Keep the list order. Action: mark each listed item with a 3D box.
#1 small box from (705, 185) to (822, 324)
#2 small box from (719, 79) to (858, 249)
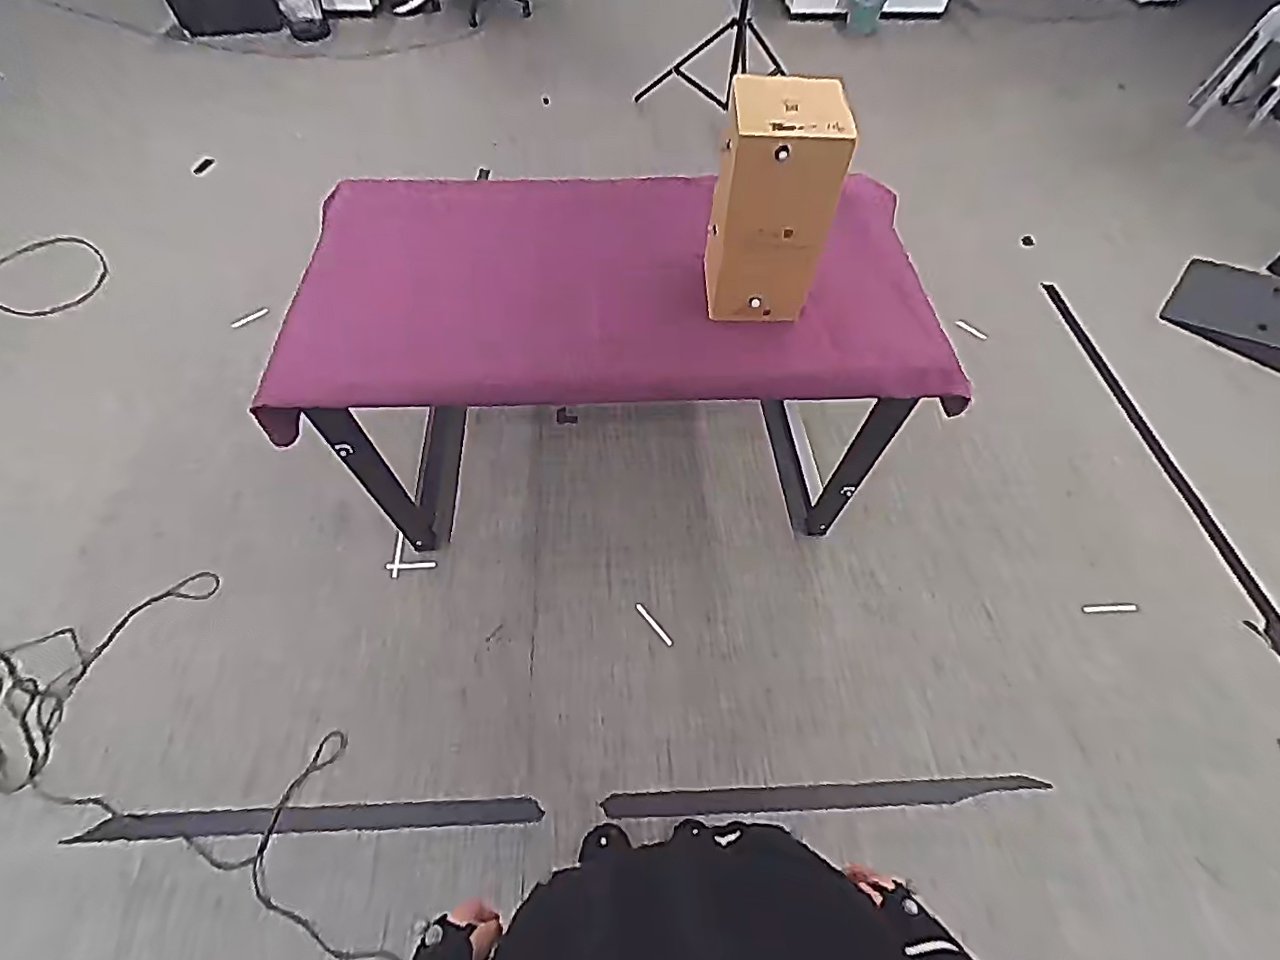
[{"bbox_3d":[0.214,-0.411,0.990,0.168,0.176,0.179,0,59,-1],"label":"small box"},{"bbox_3d":[0.218,-0.492,0.848,0.168,0.176,0.179,2,58,1],"label":"small box"}]
